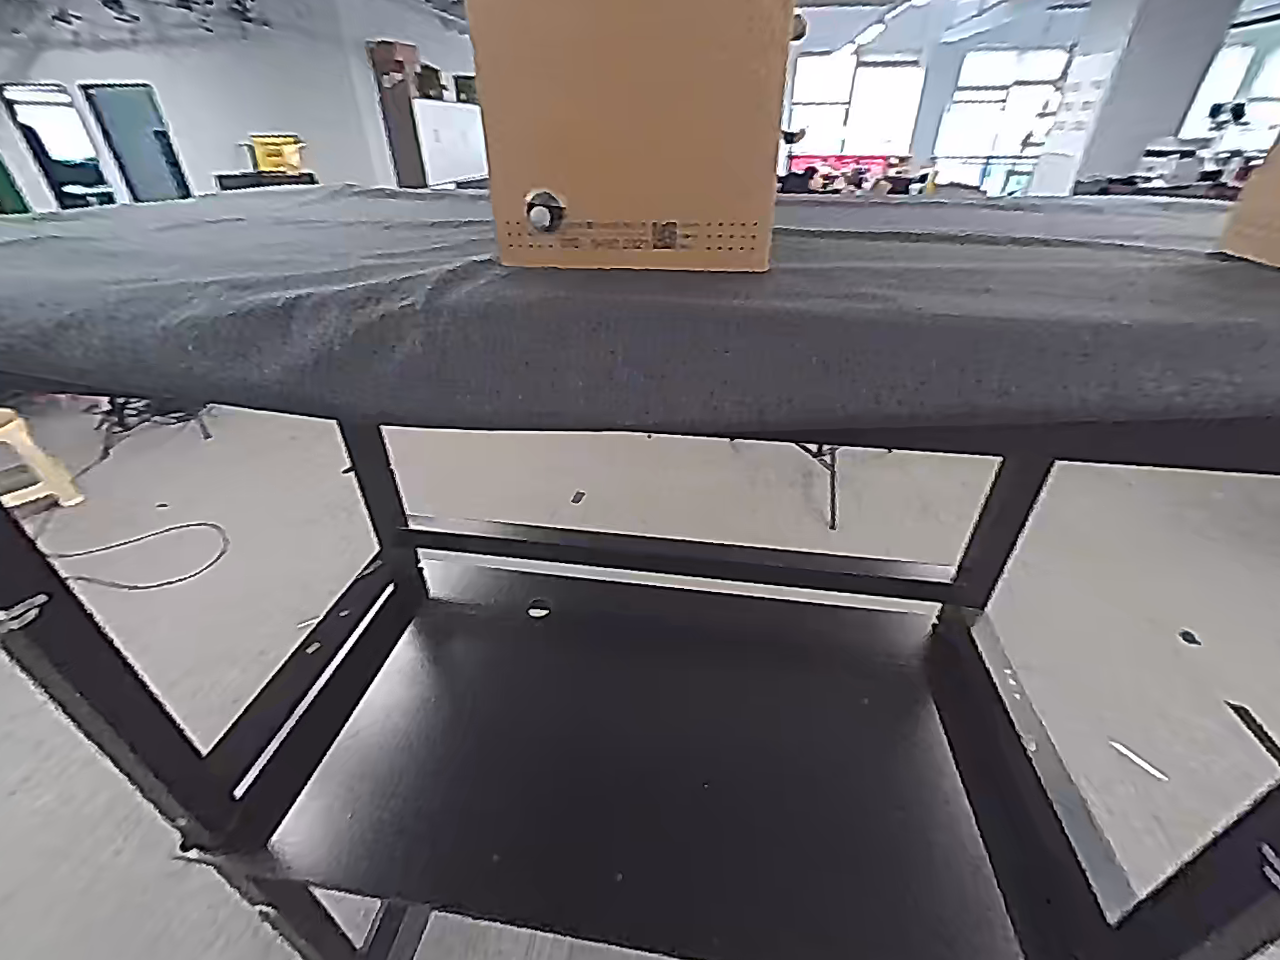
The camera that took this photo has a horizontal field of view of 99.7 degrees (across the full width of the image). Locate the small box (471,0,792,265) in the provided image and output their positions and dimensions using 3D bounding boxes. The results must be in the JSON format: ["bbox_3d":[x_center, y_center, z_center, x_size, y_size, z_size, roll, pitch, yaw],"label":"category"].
[{"bbox_3d":[0.007,-0.243,0.357,0.168,0.176,0.179,4,31,7],"label":"small box"}]
